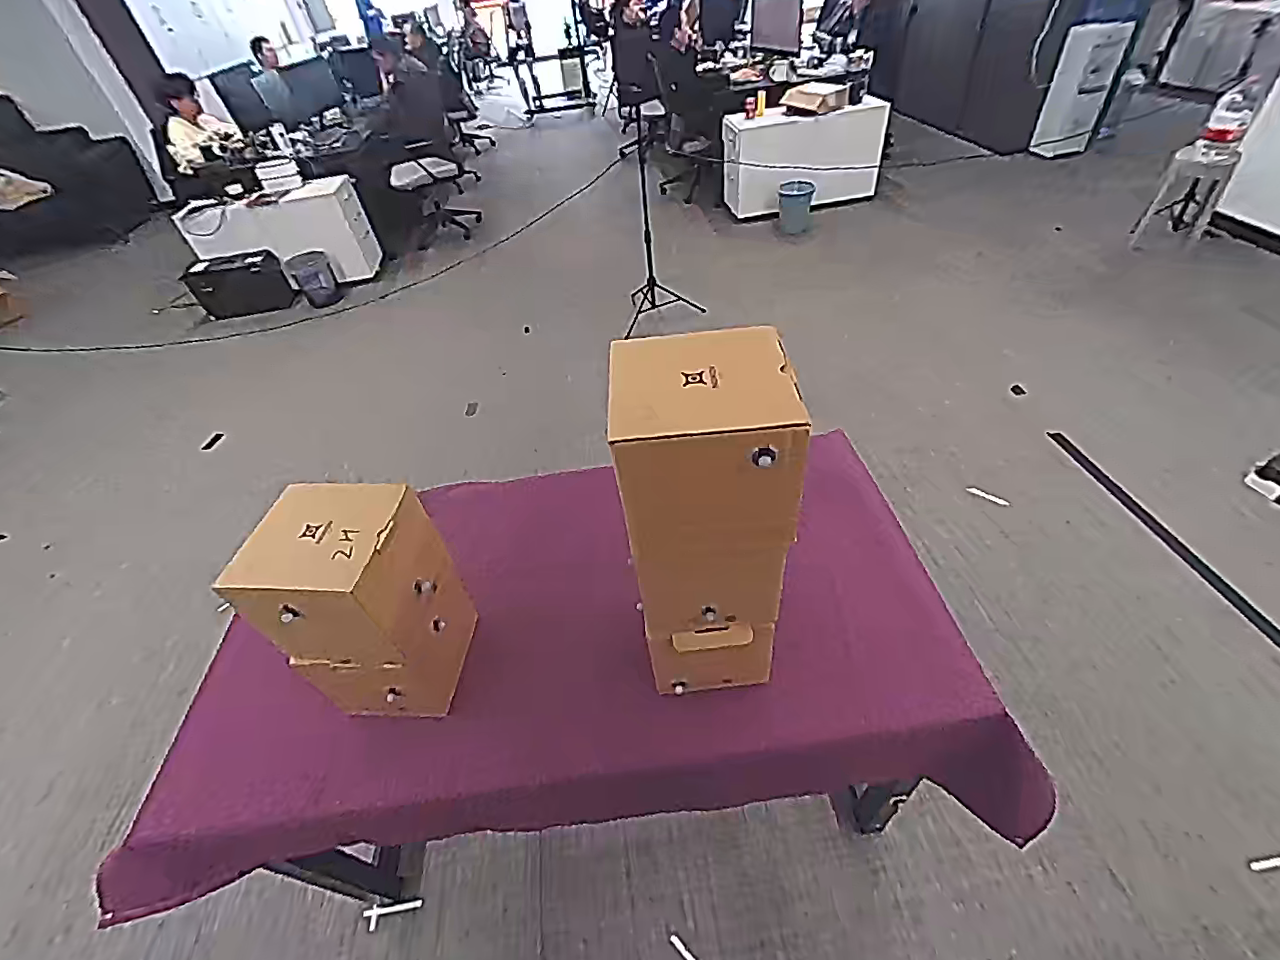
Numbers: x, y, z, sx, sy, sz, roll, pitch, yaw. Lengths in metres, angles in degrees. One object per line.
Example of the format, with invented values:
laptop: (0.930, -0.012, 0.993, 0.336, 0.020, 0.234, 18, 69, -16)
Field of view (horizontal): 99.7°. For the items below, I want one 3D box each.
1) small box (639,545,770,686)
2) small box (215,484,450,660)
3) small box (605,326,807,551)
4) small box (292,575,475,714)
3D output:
small box: (0.091, 0.188, 0.802, 0.168, 0.176, 0.179, -7, 43, 1)
small box: (-0.381, 0.121, 0.708, 0.179, 0.176, 0.168, 0, 46, 7)
small box: (0.063, -0.039, 0.569, 0.179, 0.176, 0.168, -5, 45, 3)
small box: (-0.370, 0.238, 0.823, 0.168, 0.176, 0.179, -1, 45, 7)
